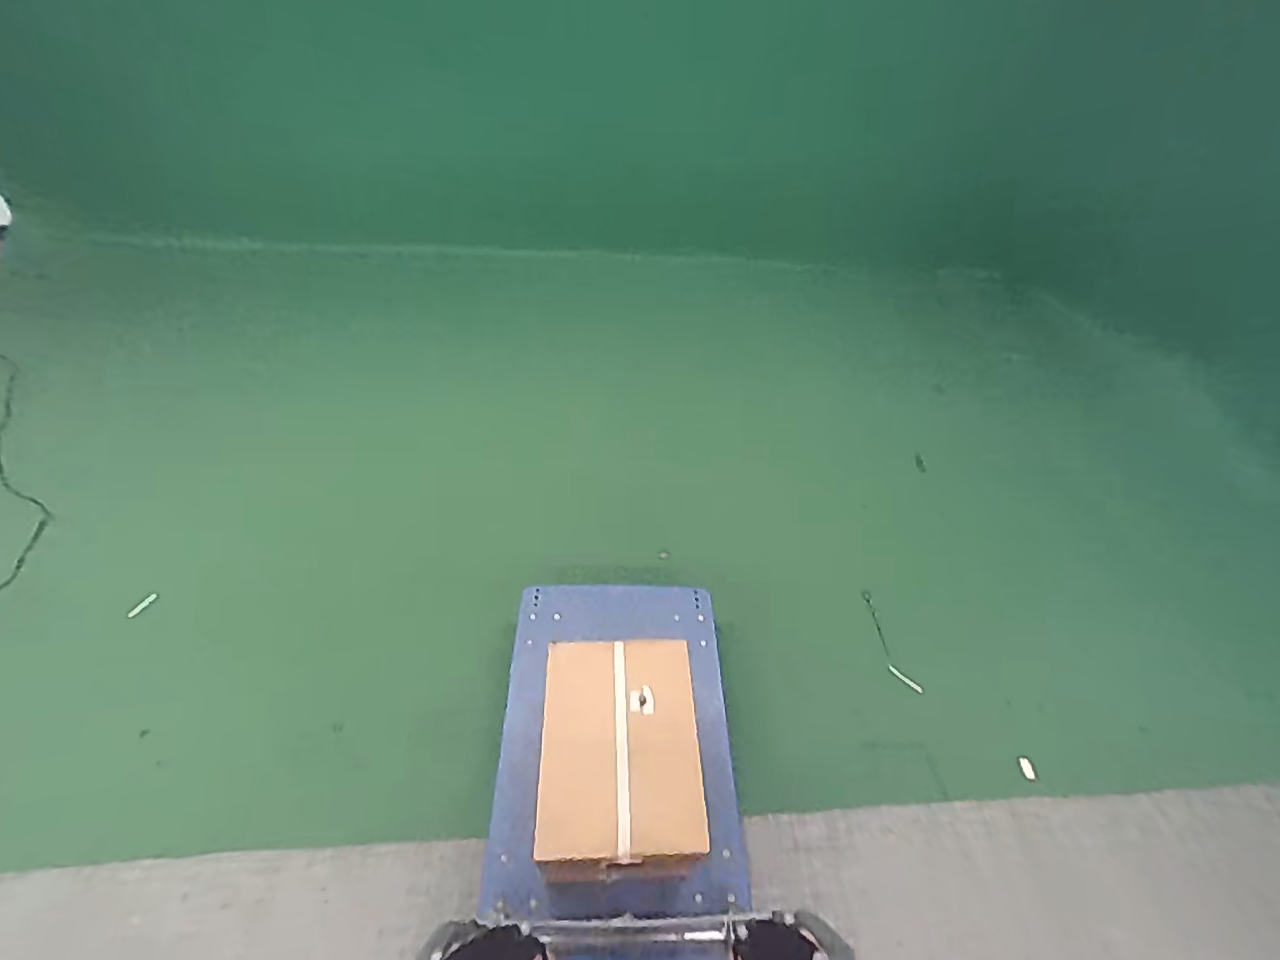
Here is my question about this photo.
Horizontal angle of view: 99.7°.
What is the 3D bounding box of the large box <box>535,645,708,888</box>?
[{"bbox_3d":[-0.050,0.626,1.195,0.320,0.320,0.408,0,47,-5],"label":"large box"}]
